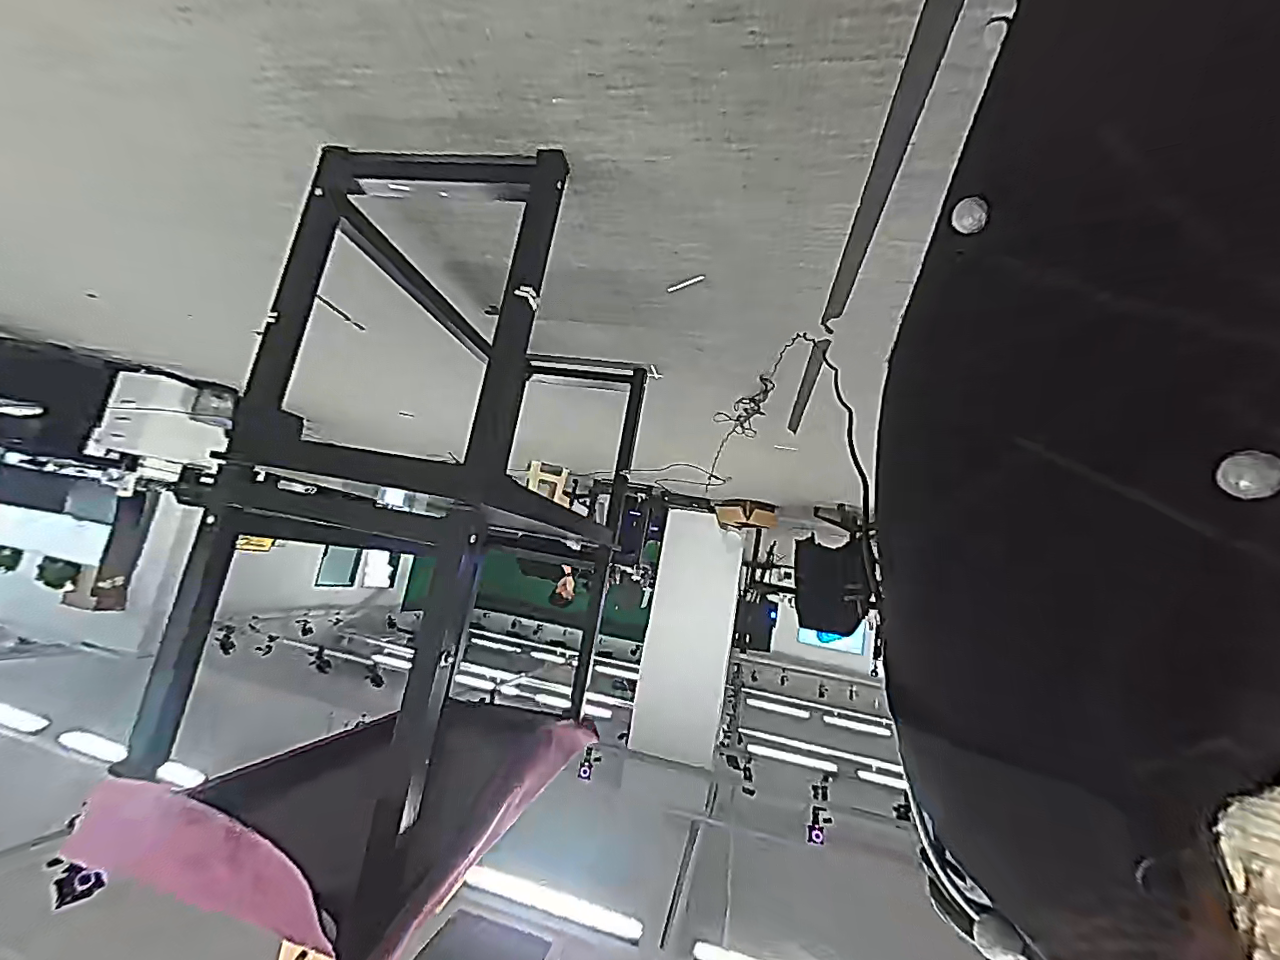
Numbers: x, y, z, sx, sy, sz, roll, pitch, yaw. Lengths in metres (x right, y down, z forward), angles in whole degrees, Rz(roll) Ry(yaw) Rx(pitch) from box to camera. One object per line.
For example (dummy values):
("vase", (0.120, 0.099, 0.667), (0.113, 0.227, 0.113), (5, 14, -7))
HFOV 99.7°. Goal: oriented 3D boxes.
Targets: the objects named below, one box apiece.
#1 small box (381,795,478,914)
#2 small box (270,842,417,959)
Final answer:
("small box", (-0.519, 0.897, 1.315), (0.168, 0.176, 0.179), (10, 170, 8))
("small box", (-0.569, 0.845, 1.055), (0.179, 0.176, 0.168), (9, 171, 9))
